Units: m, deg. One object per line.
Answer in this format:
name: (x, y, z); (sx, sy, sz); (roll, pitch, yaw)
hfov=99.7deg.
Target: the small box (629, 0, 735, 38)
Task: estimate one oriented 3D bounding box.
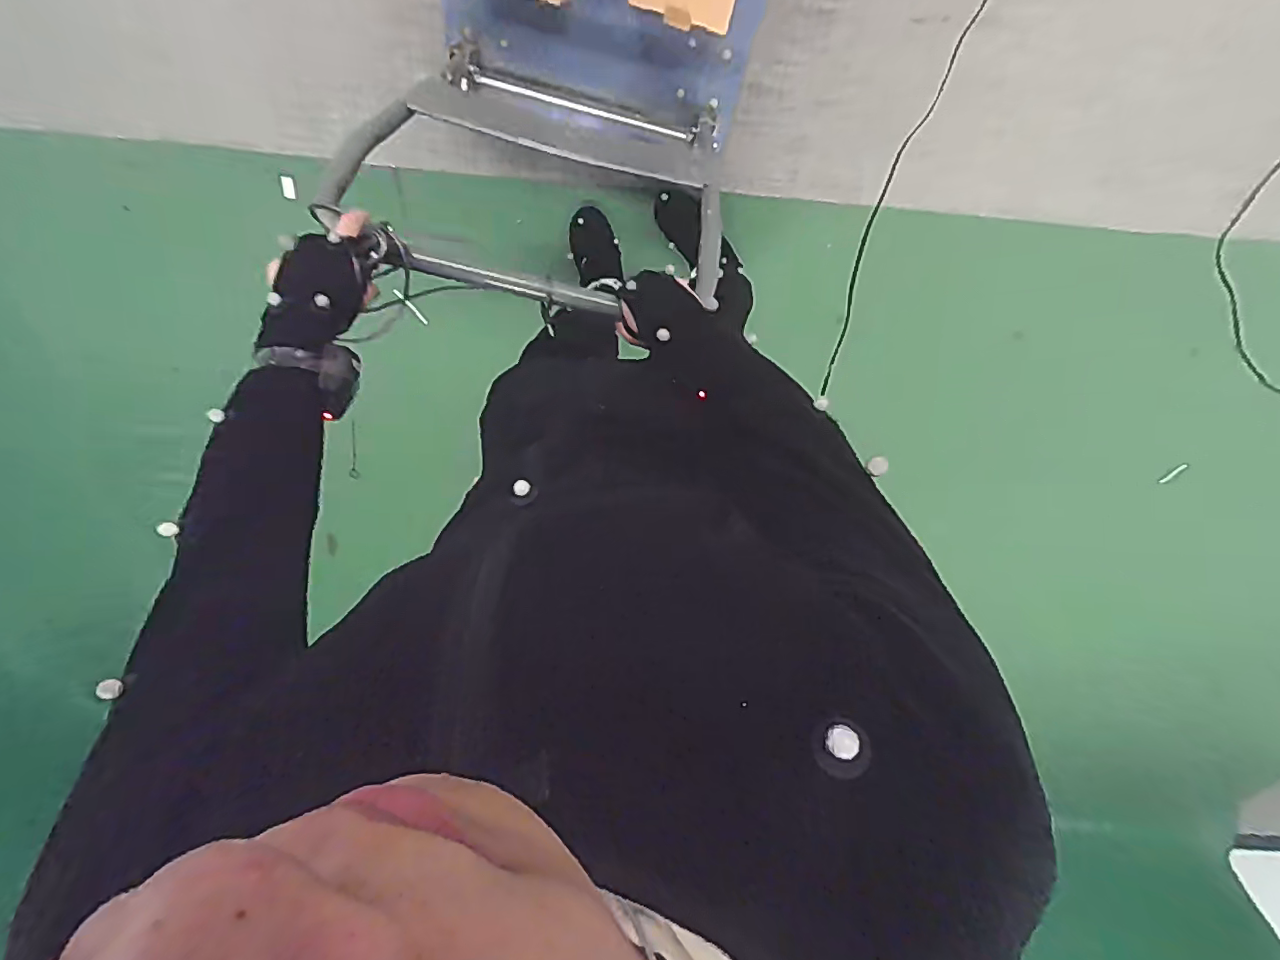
small box: (0.083, -0.848, 0.863); (0.168, 0.176, 0.179); (12, 135, -6)
